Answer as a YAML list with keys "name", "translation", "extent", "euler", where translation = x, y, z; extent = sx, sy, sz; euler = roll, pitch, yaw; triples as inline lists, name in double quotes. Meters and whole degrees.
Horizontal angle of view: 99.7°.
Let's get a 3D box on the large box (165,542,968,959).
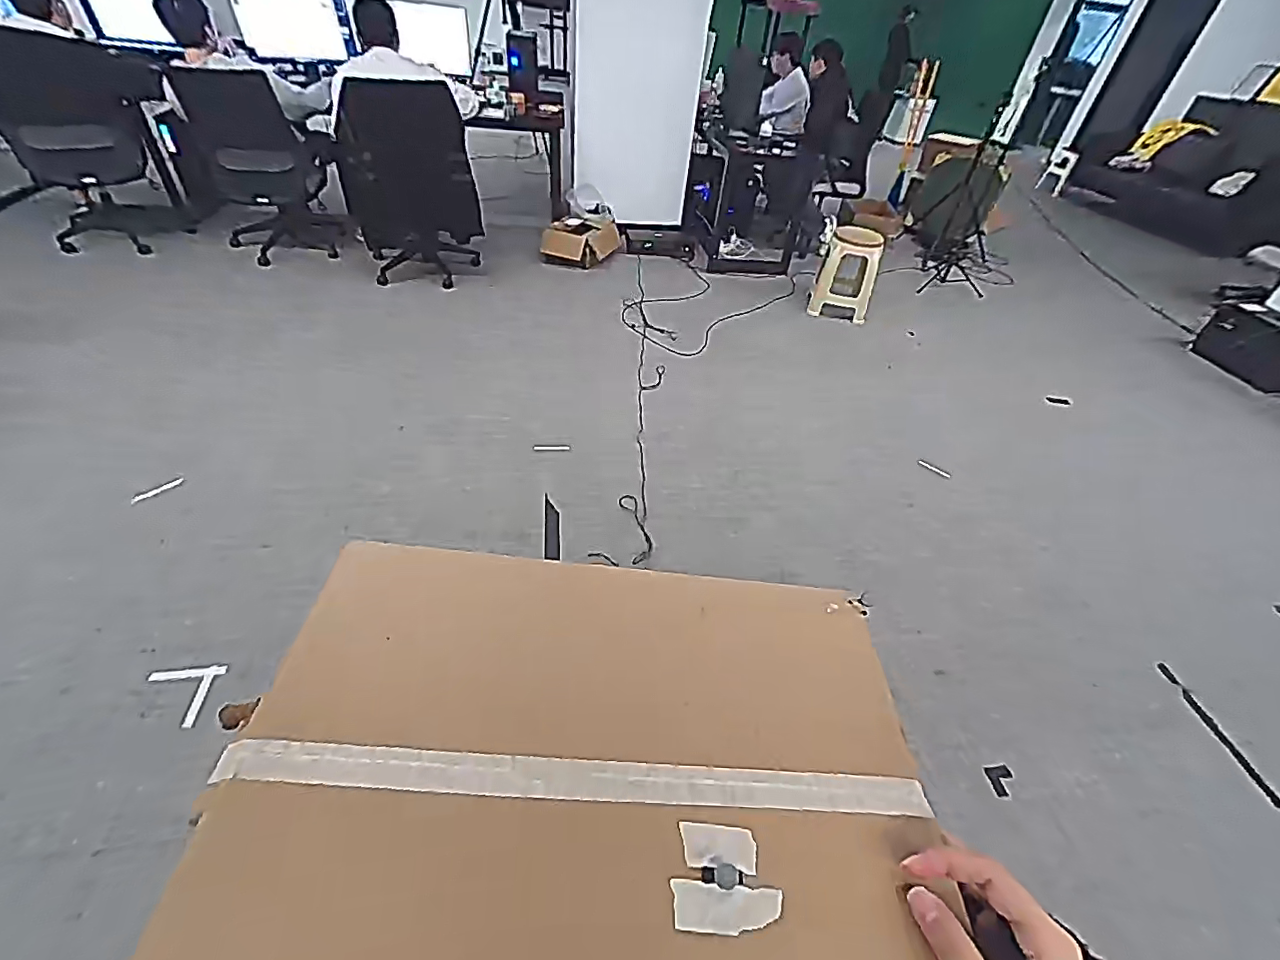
- name: "large box"
  translation: [-0.045, 0.282, 0.431]
  extent: [0.408, 0.320, 0.320]
  euler: [8, 44, -7]
